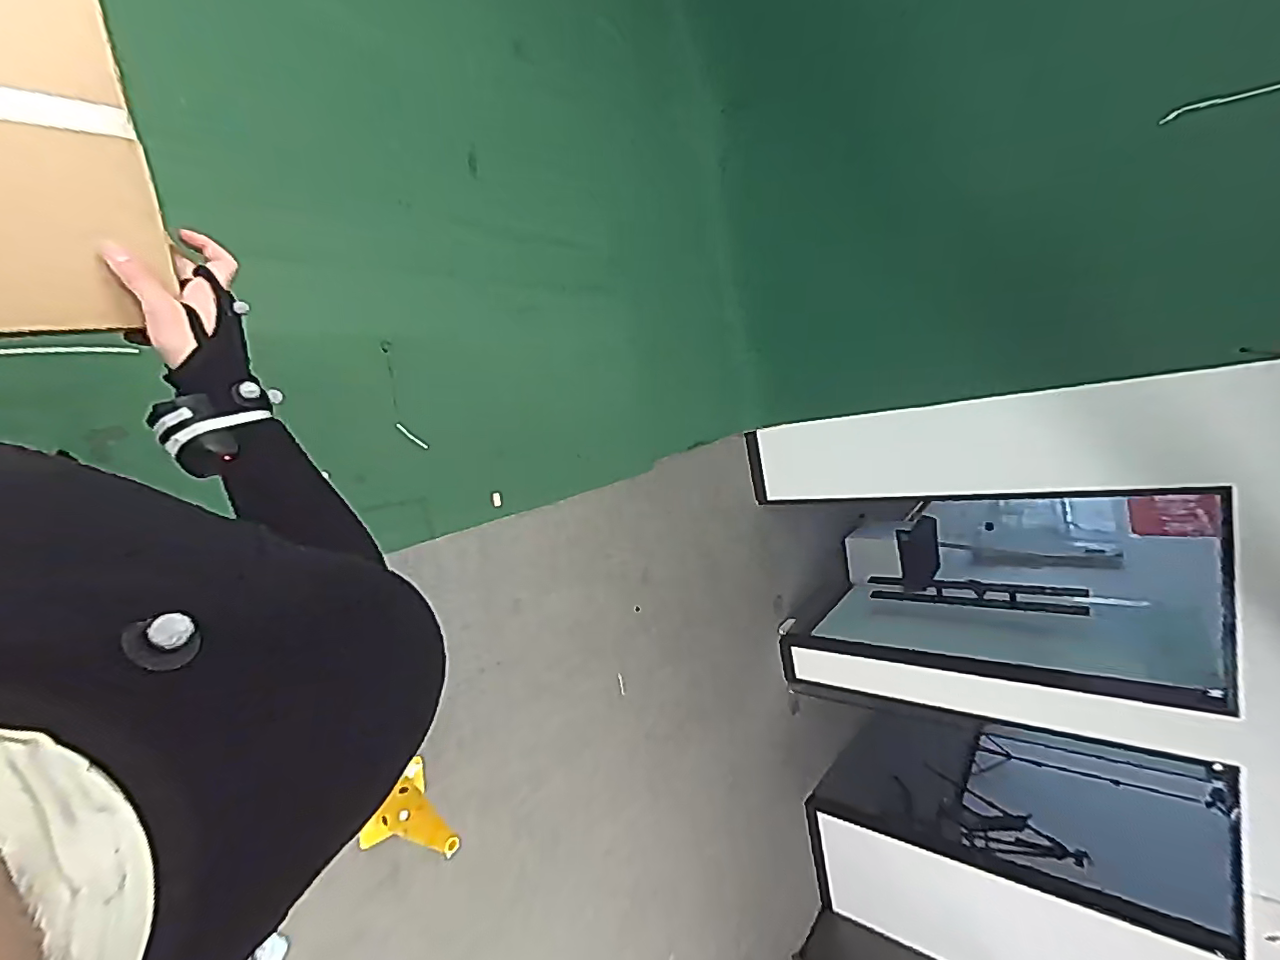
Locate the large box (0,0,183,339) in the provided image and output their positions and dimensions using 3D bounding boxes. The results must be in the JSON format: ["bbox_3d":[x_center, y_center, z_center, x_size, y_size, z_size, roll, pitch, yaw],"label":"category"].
[{"bbox_3d":[-0.665,-0.260,0.400,0.408,0.320,0.320,-21,115,-46],"label":"large box"}]
